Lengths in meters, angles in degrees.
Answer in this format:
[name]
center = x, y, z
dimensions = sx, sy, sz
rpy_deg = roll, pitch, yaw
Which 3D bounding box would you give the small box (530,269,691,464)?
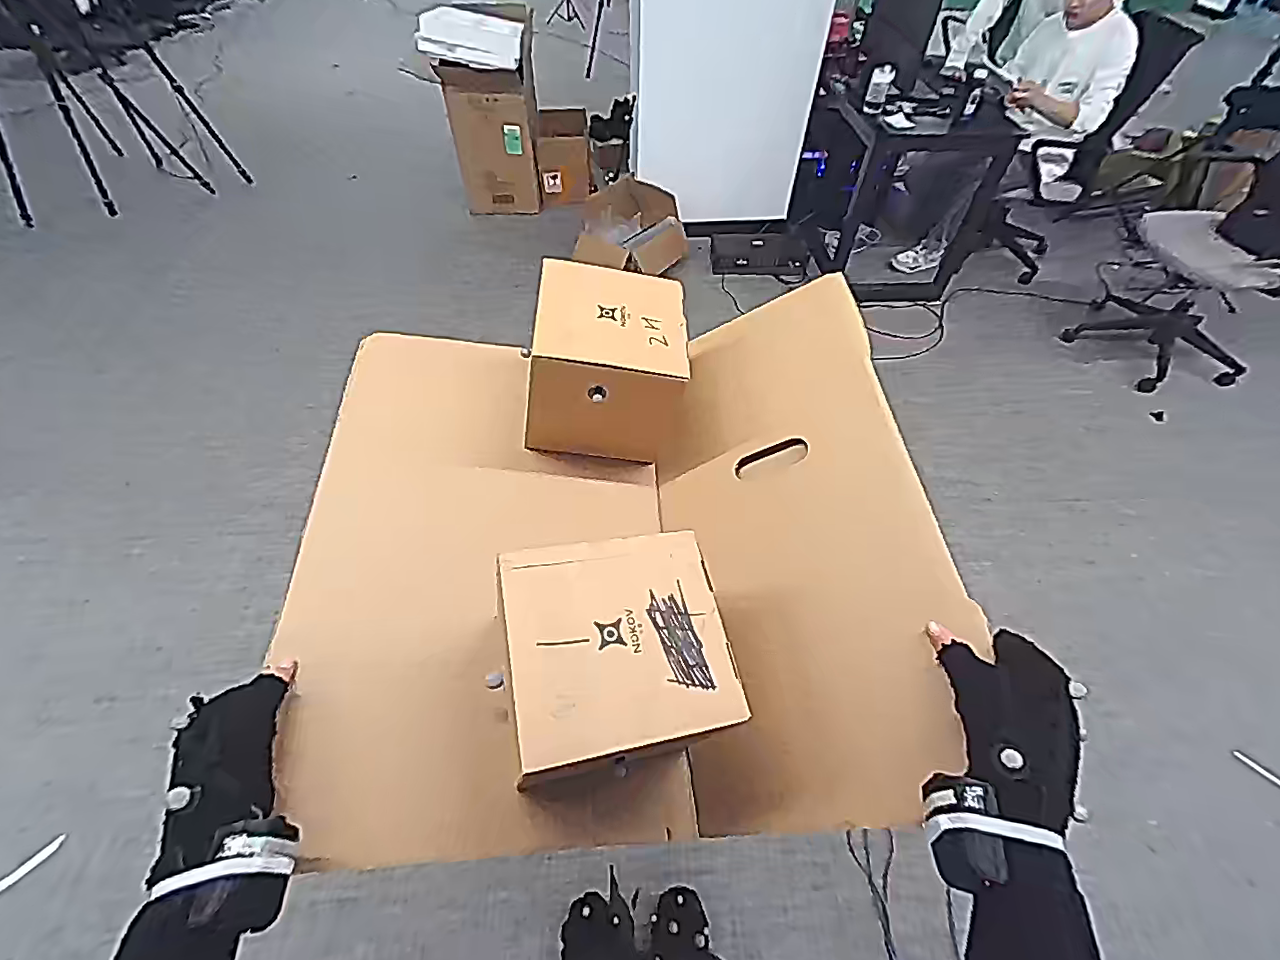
[small box]
center = -0.044, -0.137, 0.697
dimensions = 0.179, 0.176, 0.168
rpy_deg = 7, 57, -11
